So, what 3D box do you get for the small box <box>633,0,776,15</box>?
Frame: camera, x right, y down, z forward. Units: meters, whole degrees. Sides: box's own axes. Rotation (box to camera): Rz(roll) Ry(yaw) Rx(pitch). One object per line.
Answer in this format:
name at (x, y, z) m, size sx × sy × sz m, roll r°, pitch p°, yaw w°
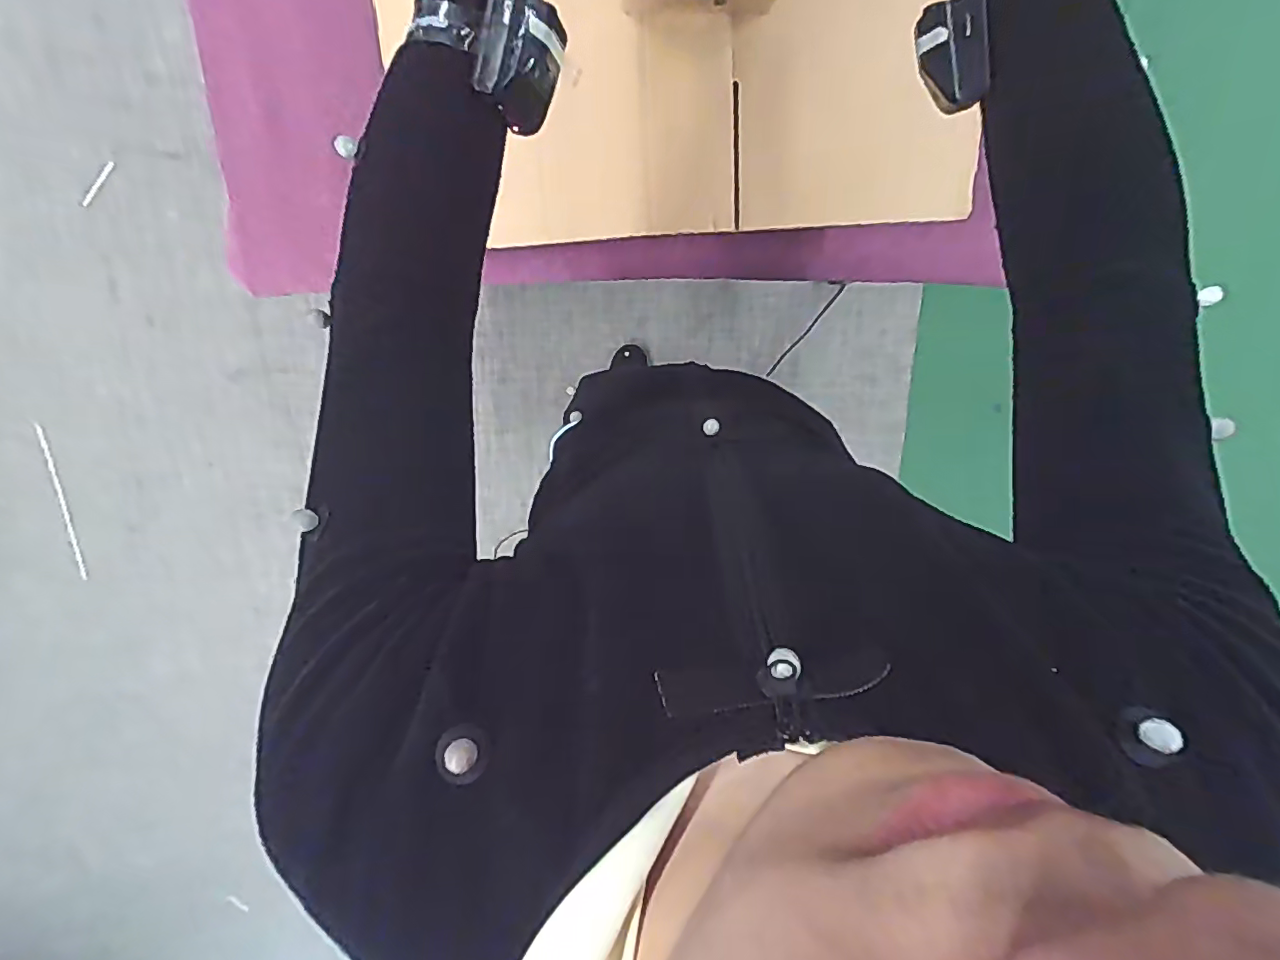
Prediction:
small box at (0.068, -0.566, 0.480) m, size 0.168 × 0.176 × 0.179 m, roll -3°, pitch 105°, yaw -3°
